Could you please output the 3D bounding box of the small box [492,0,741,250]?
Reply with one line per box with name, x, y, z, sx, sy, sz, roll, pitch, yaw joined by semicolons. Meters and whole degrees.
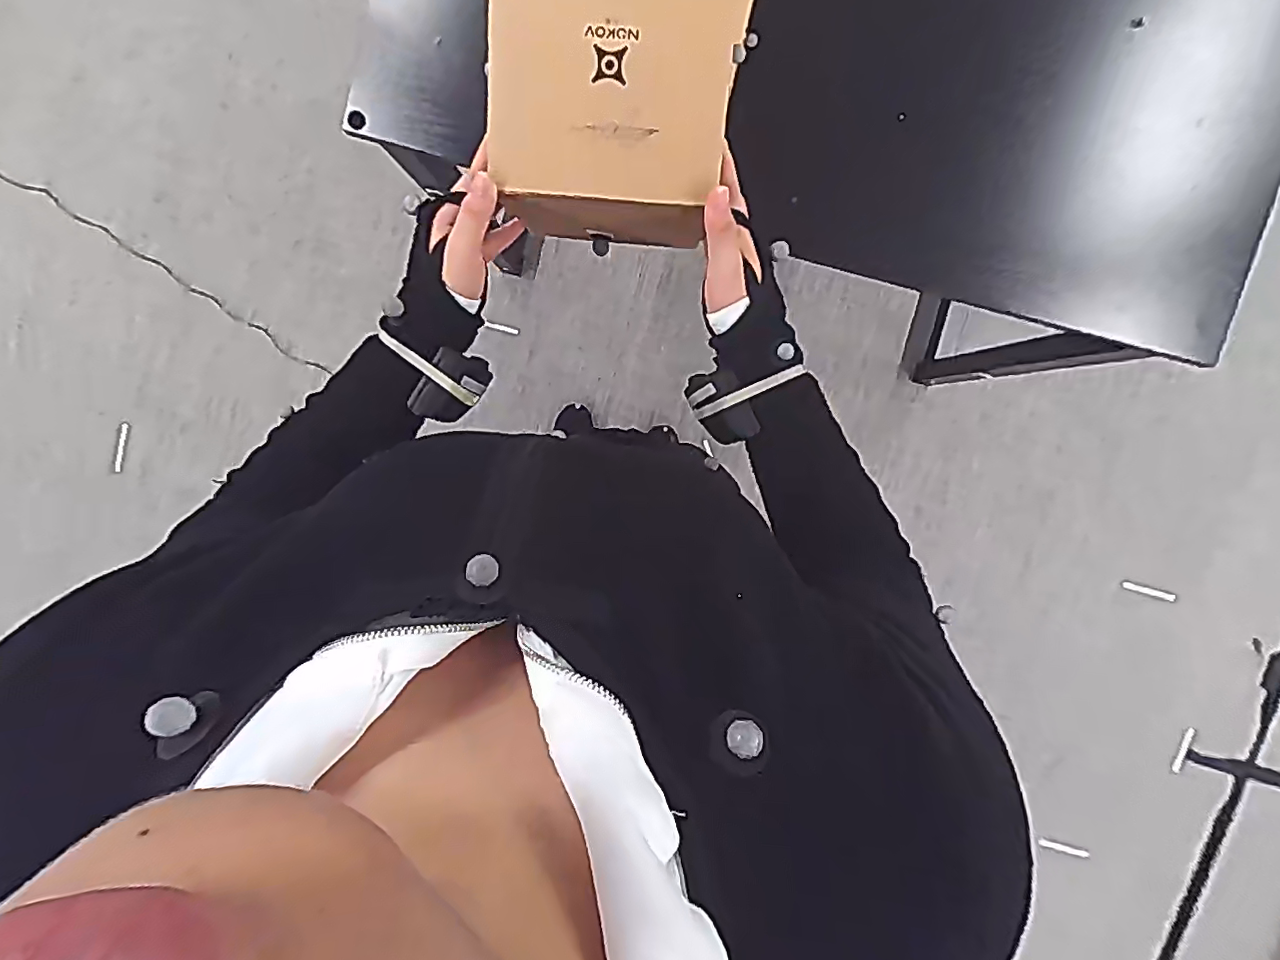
small box;-0.016;-0.305;0.448;0.168;0.176;0.179;5;104;1
